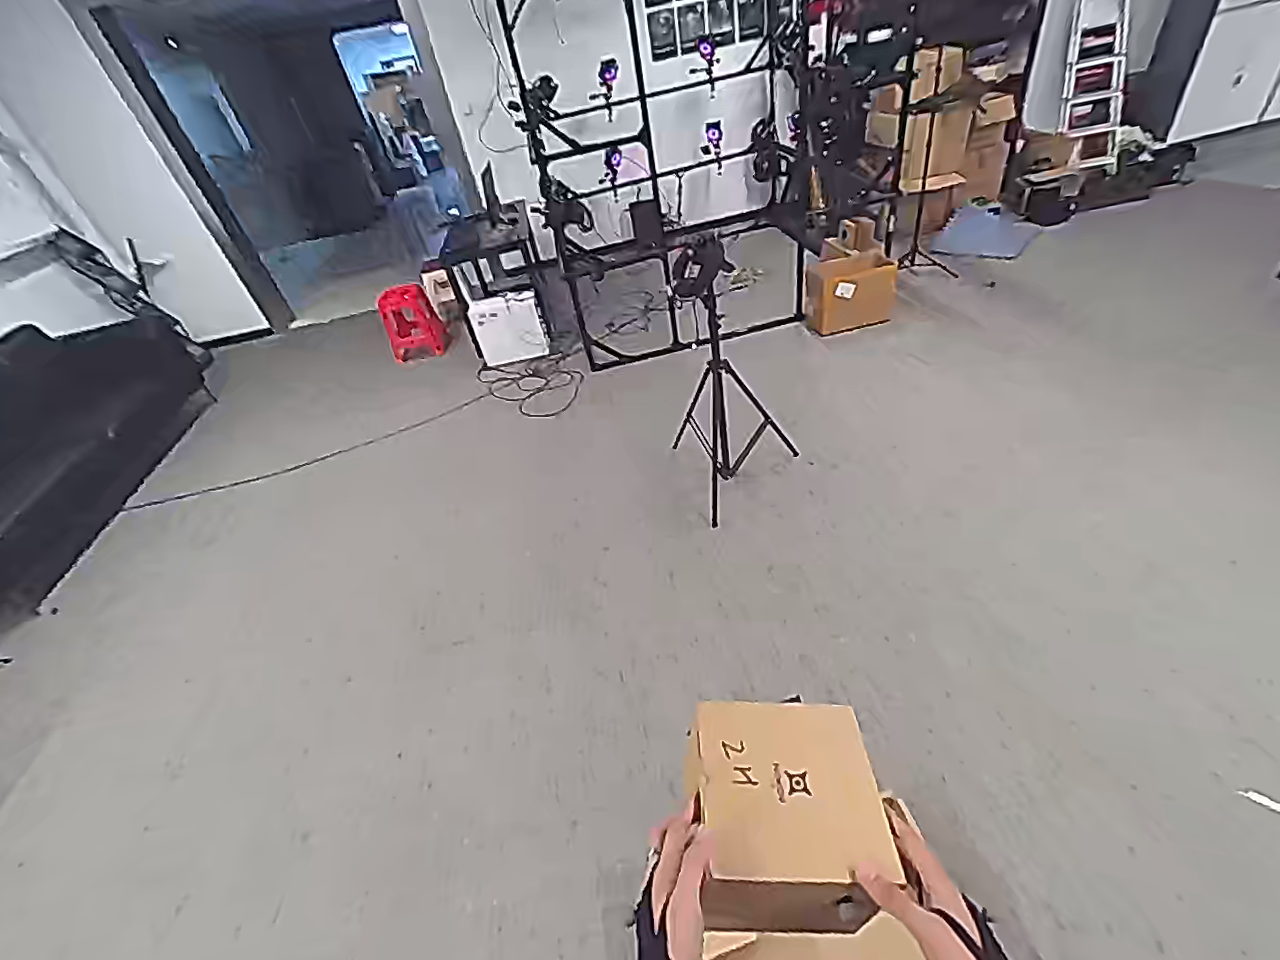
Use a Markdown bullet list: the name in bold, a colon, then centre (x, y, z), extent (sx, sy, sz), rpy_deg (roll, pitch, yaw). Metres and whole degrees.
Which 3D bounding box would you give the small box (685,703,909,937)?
- **small box**: centre (0.145, 0.358, 0.572), extent (0.179, 0.176, 0.168), rpy_deg (1, 38, 0)
